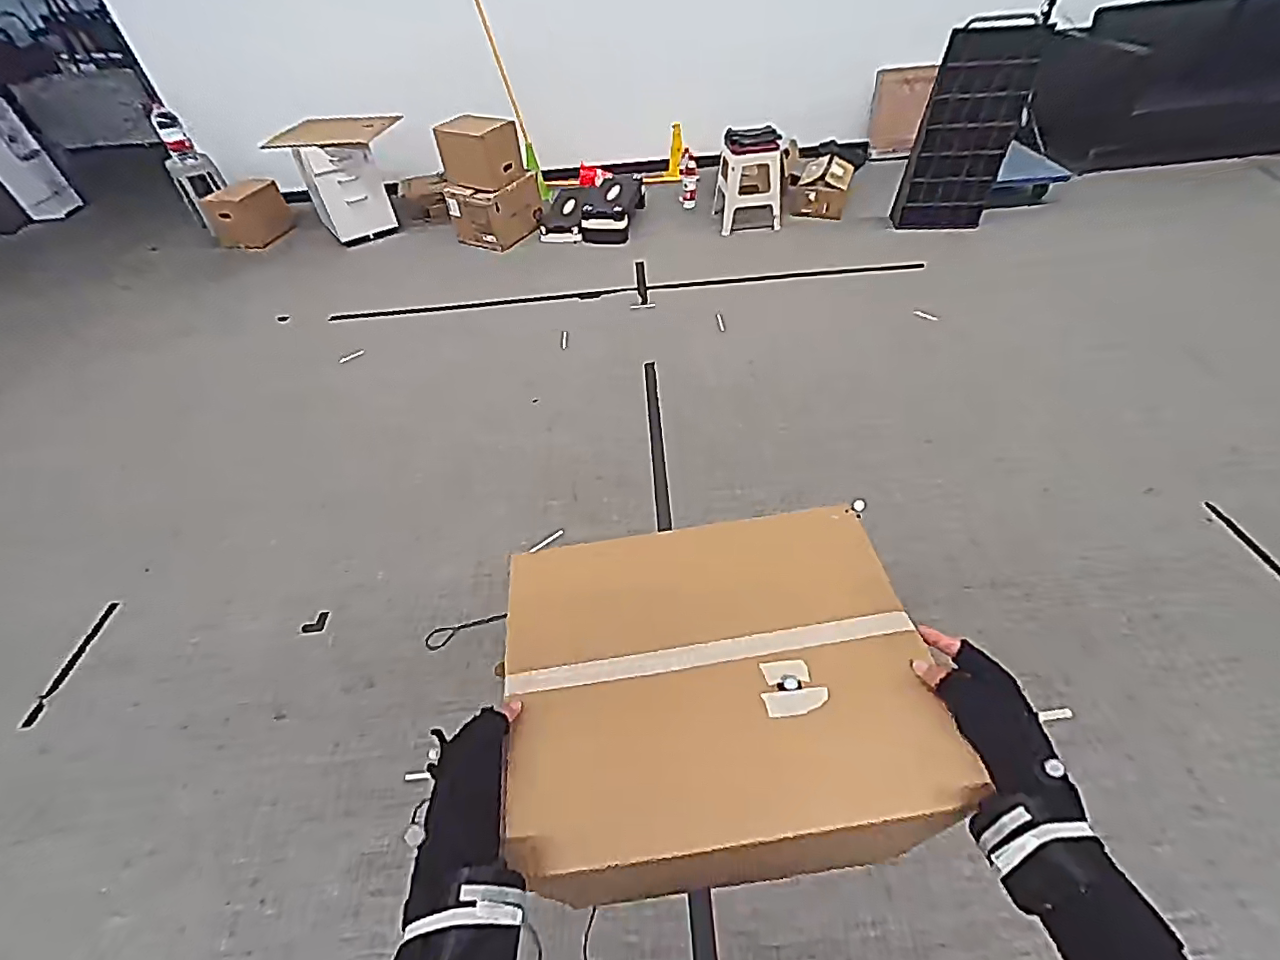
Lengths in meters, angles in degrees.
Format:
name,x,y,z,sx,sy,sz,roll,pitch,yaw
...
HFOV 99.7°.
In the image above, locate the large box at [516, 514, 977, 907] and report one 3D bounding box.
name,x,y,z,sx,sy,sz,roll,pitch,yaw
large box,0.084,0.282,0.658,0.408,0.320,0.320,-9,49,-1
